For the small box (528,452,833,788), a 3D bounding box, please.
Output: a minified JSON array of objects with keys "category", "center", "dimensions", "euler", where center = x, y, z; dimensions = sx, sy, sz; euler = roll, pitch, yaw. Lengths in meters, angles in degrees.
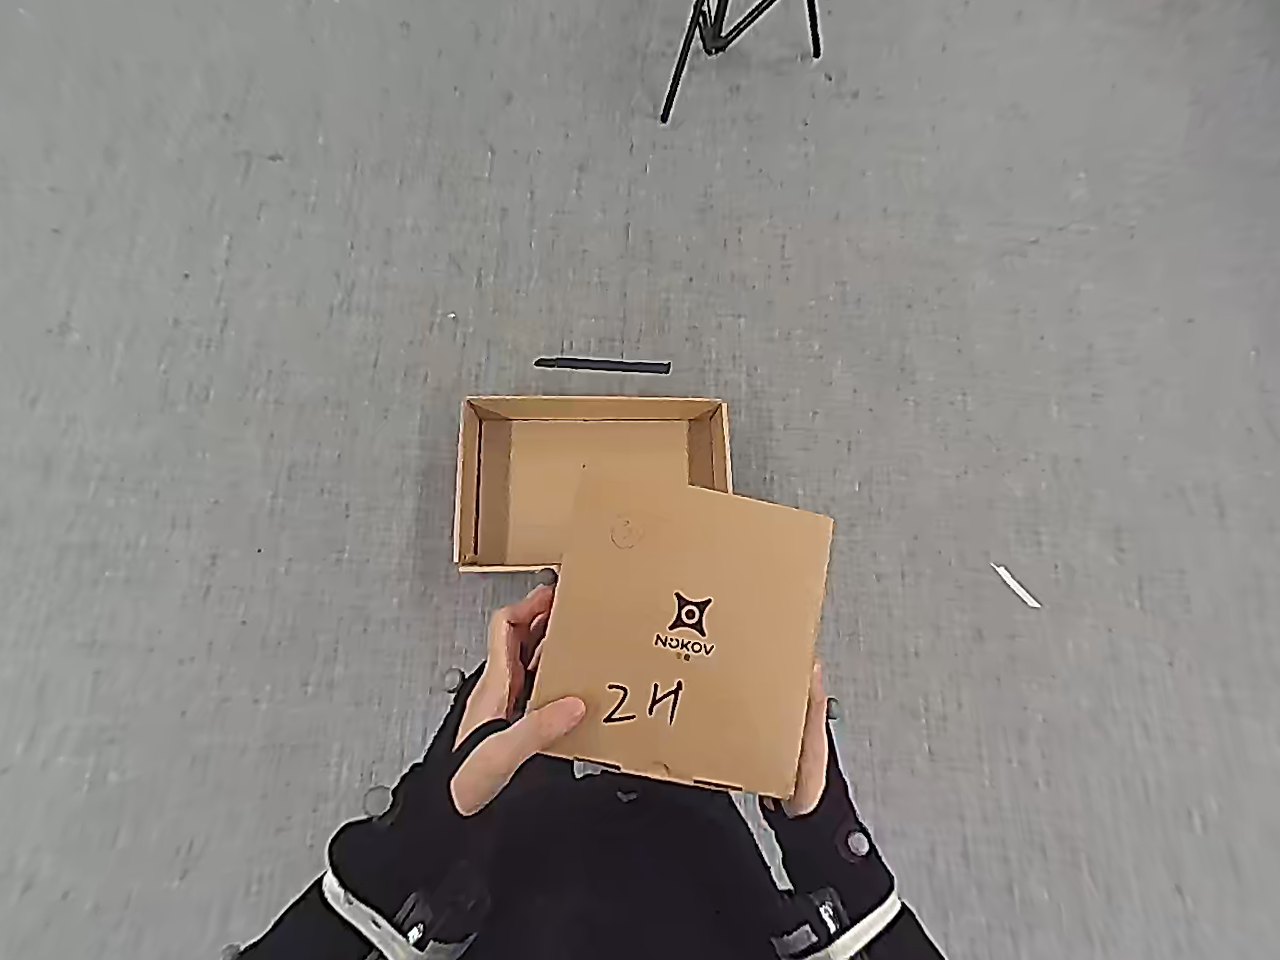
[{"category":"small box","center":[0.022,0.096,0.412],"dimensions":[0.168,0.176,0.179],"euler":[13,80,-3]}]
